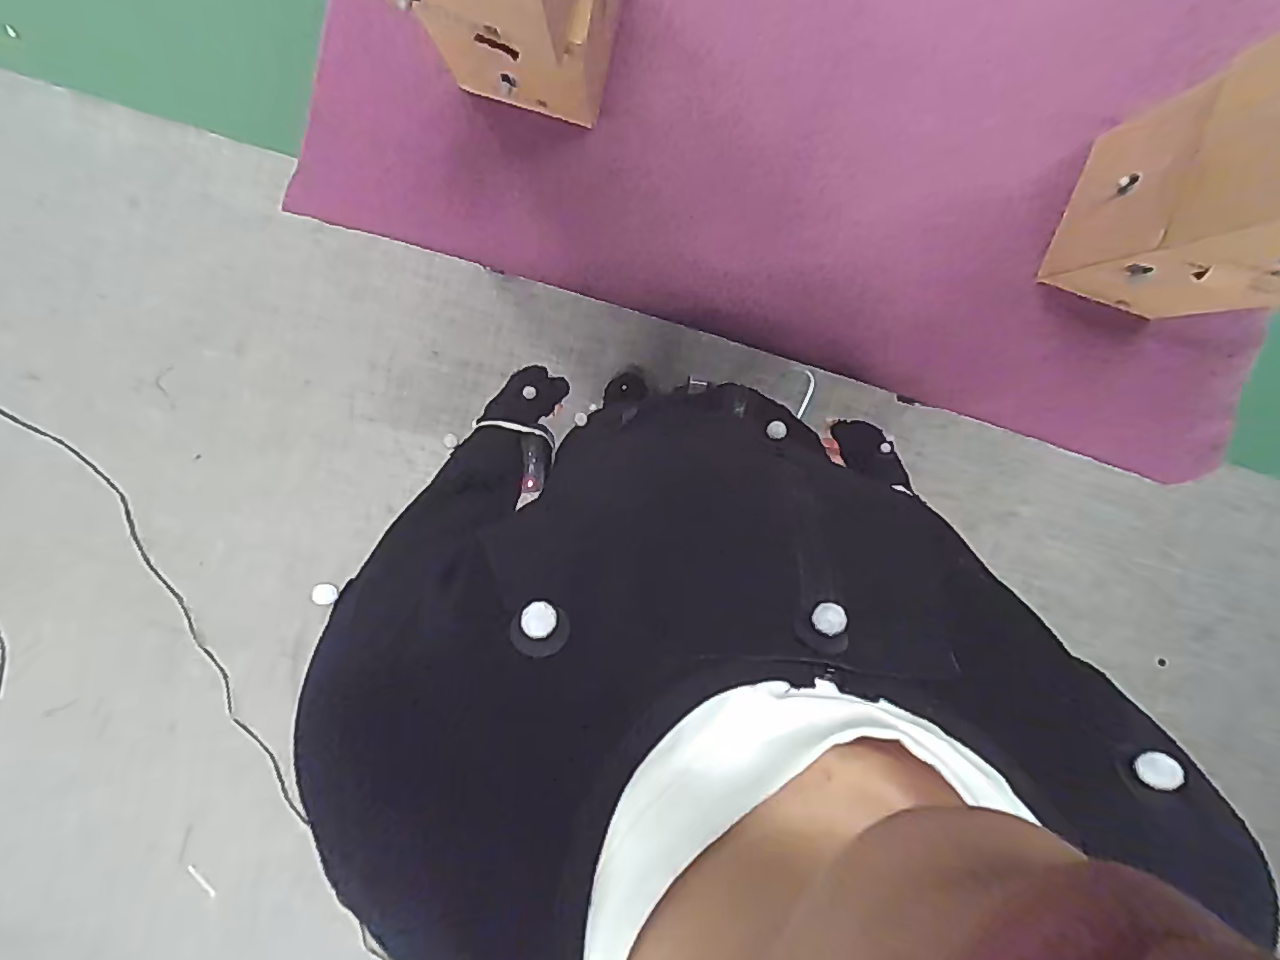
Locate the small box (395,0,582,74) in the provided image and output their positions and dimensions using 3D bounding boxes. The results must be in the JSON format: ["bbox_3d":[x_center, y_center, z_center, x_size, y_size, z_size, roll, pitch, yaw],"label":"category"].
[{"bbox_3d":[-0.121,-0.456,0.403,0.168,0.176,0.179,19,101,-5],"label":"small box"}]

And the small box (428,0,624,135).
[{"bbox_3d":[-0.110,-0.503,0.561,0.168,0.176,0.179,14,102,-4],"label":"small box"}]
